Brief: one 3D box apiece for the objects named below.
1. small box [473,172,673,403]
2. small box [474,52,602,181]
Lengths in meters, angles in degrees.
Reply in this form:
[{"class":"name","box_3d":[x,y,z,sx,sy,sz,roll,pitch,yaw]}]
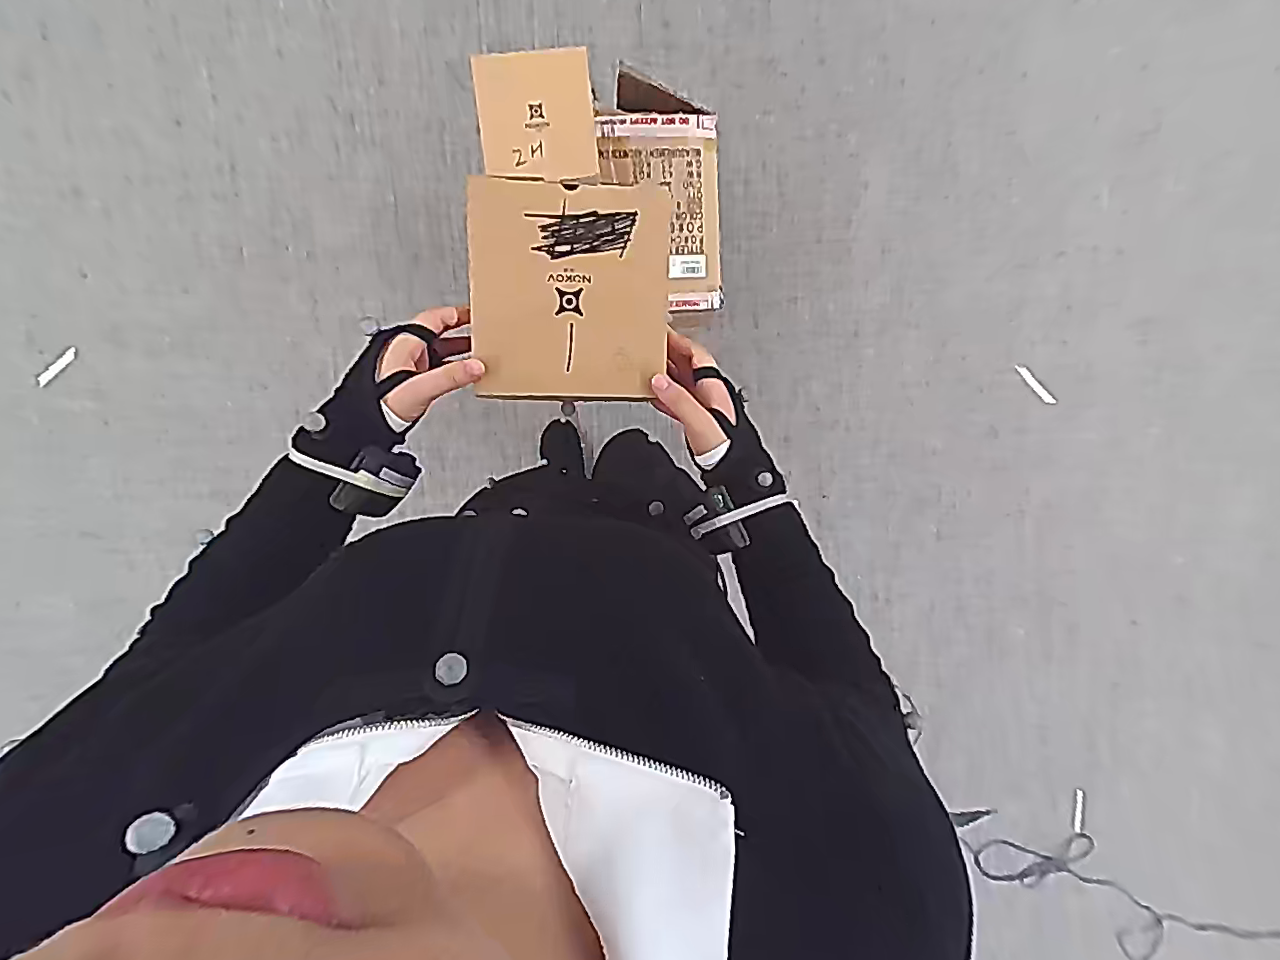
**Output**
[{"class":"small box","box_3d":[-0.064,-0.168,0.527,0.168,0.176,0.179,0,97,-6]},{"class":"small box","box_3d":[-0.148,-0.522,0.850,0.168,0.176,0.179,-6,99,0]}]
